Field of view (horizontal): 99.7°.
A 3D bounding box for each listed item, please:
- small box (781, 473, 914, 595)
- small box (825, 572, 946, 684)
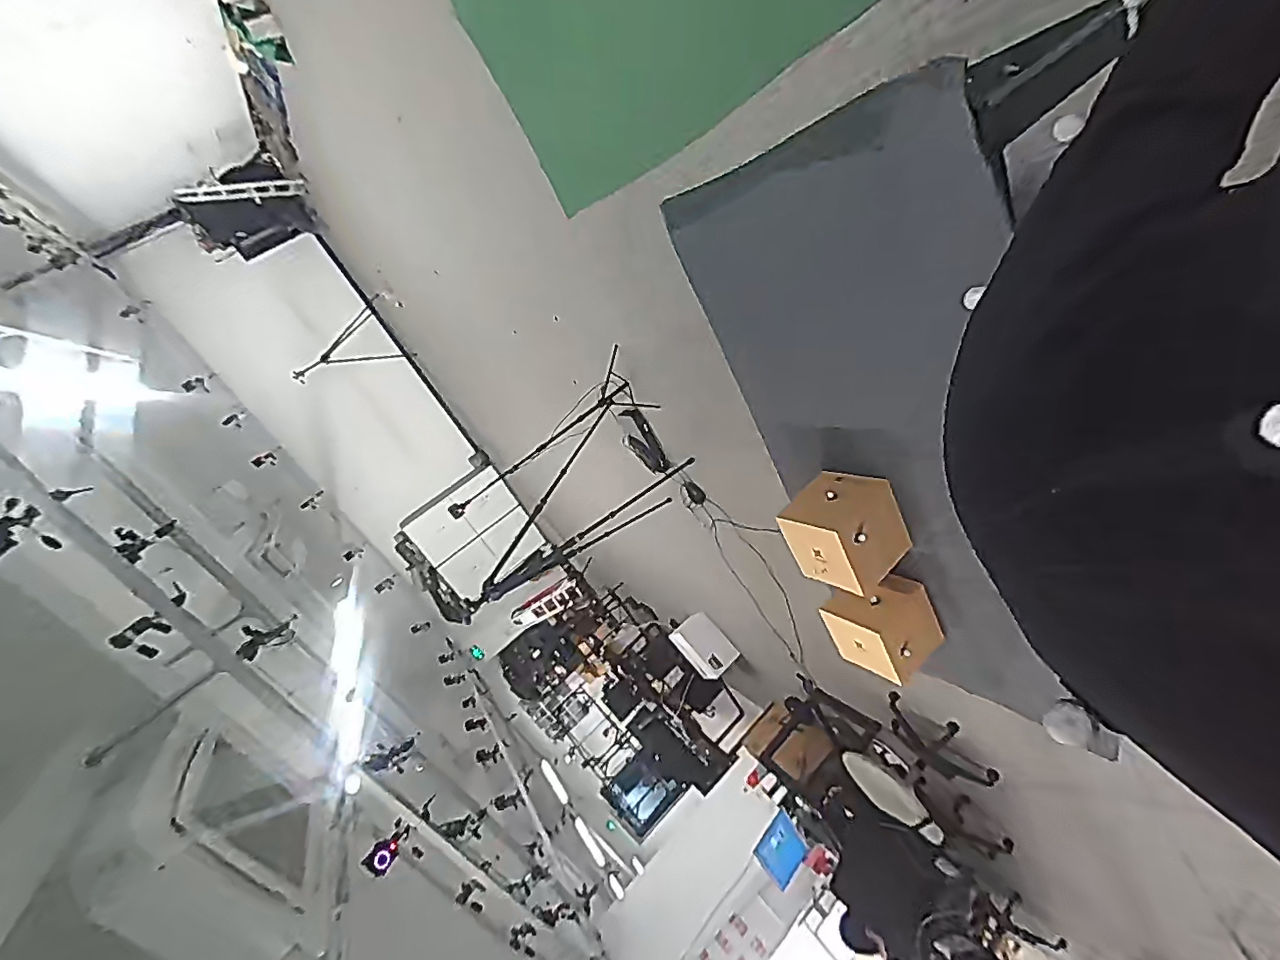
[{"bbox_3d":[0.435,0.103,1.132,0.179,0.176,0.168,58,160,-22],"label":"small box"},{"bbox_3d":[0.570,0.326,1.253,0.179,0.176,0.168,58,159,-22],"label":"small box"}]
